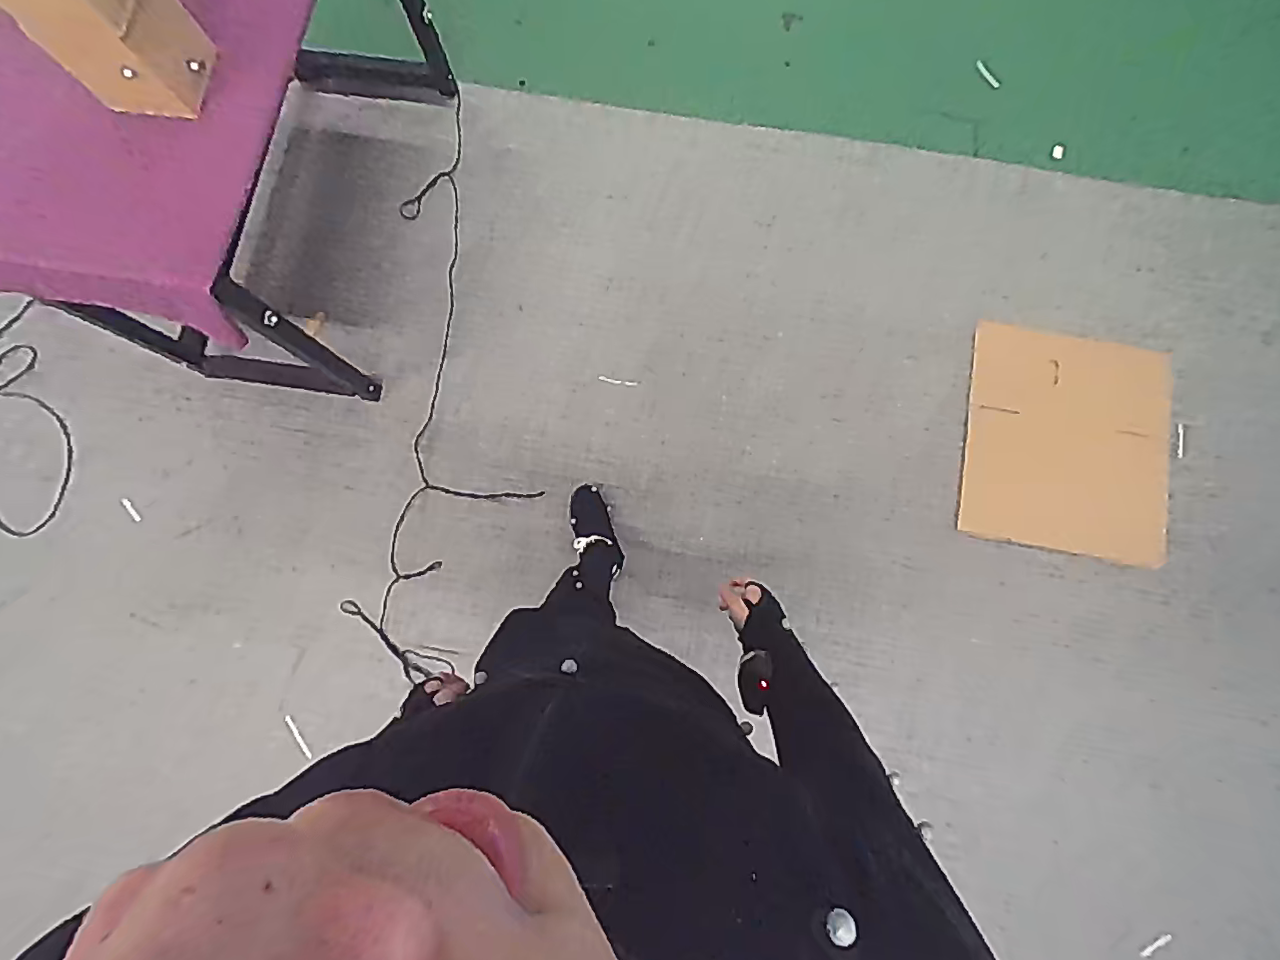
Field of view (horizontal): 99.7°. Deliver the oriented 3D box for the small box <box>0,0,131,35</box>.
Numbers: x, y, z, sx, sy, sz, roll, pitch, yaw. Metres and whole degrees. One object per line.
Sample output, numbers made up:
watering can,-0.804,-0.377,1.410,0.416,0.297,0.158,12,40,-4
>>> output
small box,-0.928,-0.836,0.831,0.179,0.176,0.168,7,80,2
